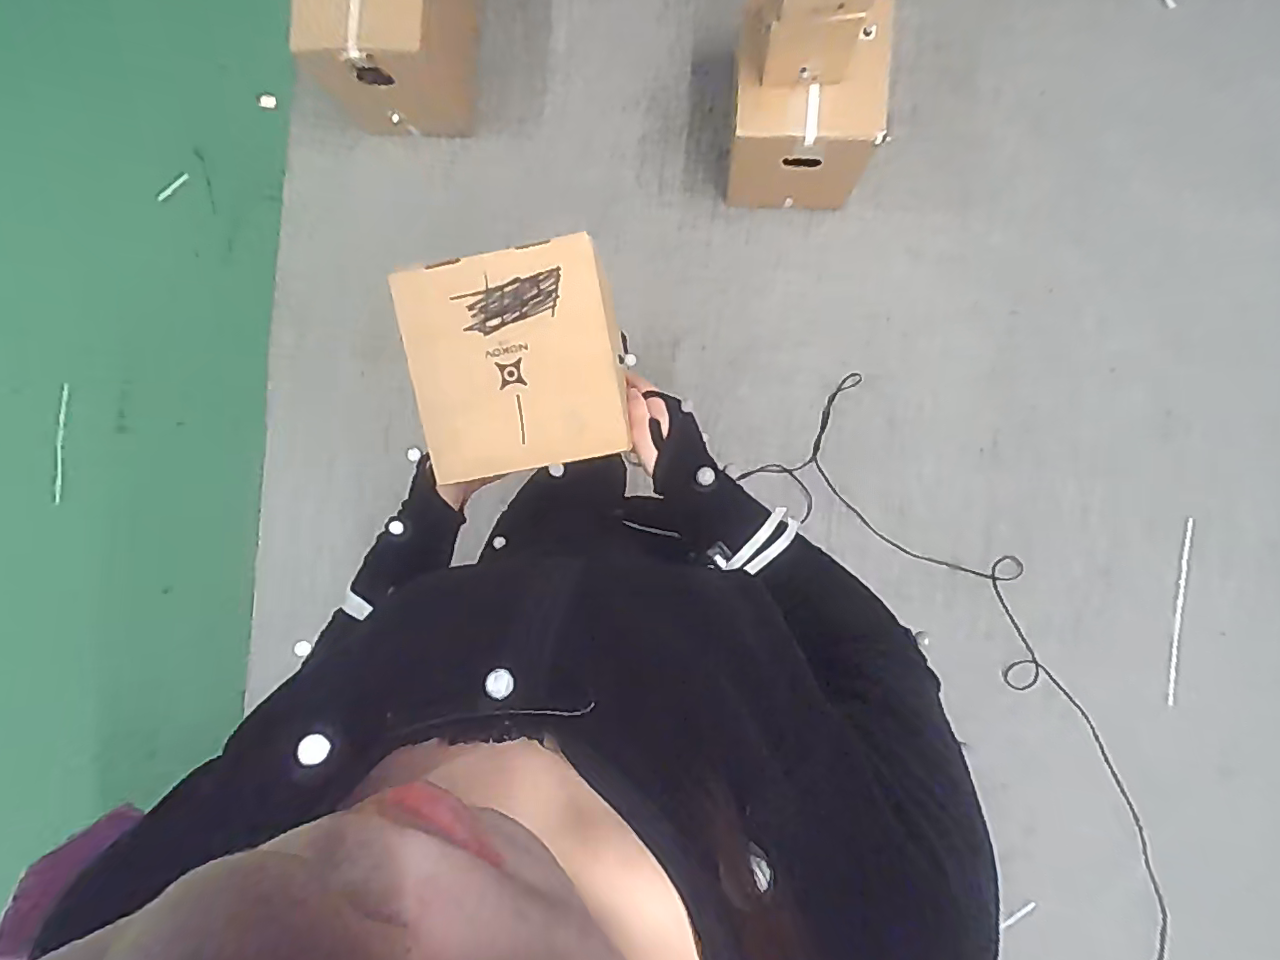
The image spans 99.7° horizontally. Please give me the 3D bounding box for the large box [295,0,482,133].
[{"bbox_3d":[-0.609,-1.166,1.361,0.320,0.320,0.408,5,91,5],"label":"large box"}]

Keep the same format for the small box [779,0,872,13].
[{"bbox_3d":[0.316,-0.908,0.877,0.168,0.176,0.179,-4,92,7],"label":"small box"}]
